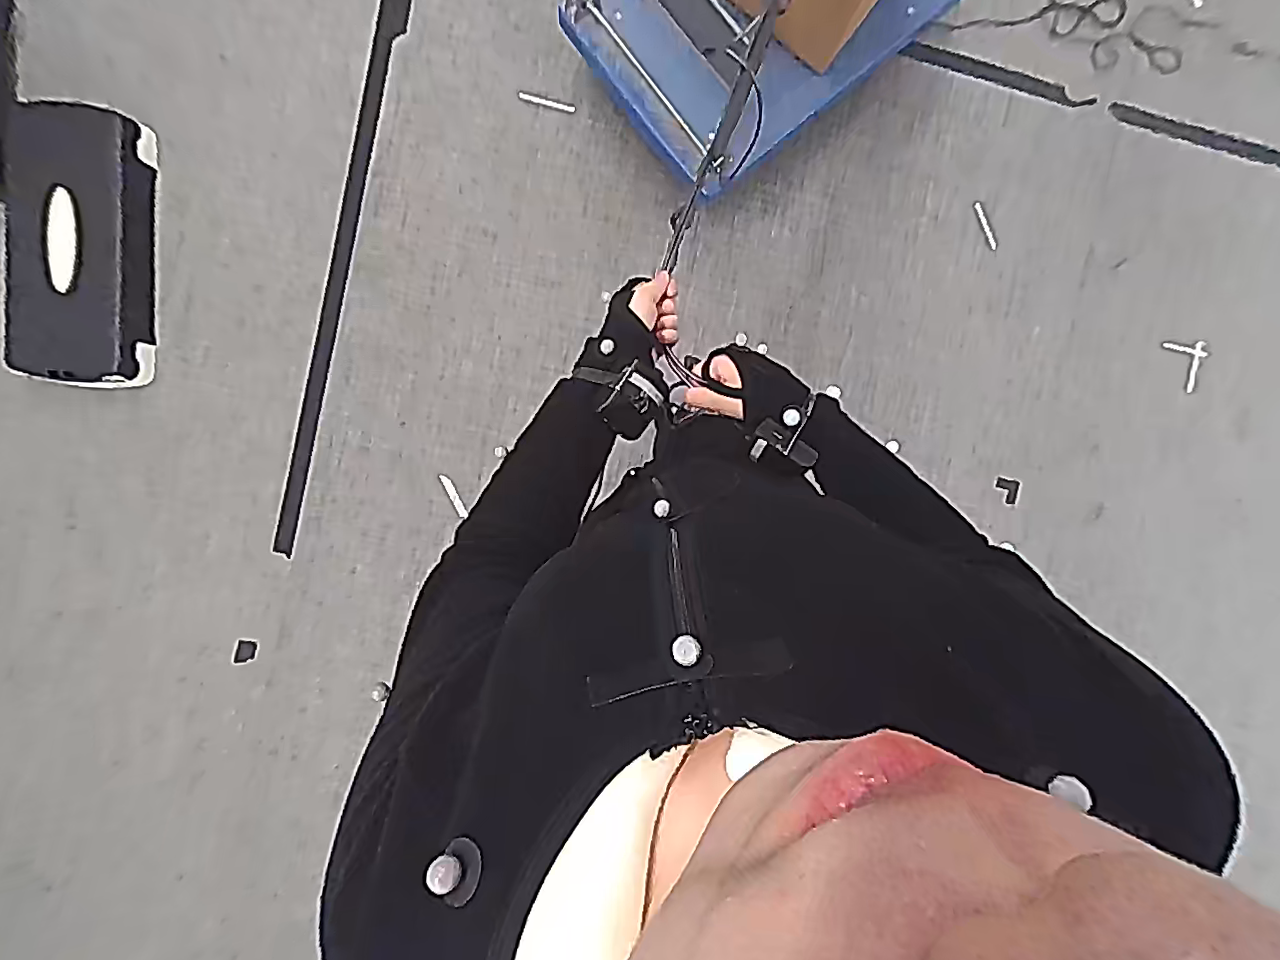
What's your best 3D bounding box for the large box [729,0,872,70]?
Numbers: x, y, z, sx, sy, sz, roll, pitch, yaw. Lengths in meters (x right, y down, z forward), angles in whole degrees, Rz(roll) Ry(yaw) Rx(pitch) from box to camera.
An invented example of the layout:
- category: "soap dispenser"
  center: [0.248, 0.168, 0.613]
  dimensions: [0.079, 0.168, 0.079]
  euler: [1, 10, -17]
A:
- category: "large box"
  center: [0.370, -1.213, 1.145]
  dimensions: [0.408, 0.320, 0.320]
  euler: [36, 90, -5]
